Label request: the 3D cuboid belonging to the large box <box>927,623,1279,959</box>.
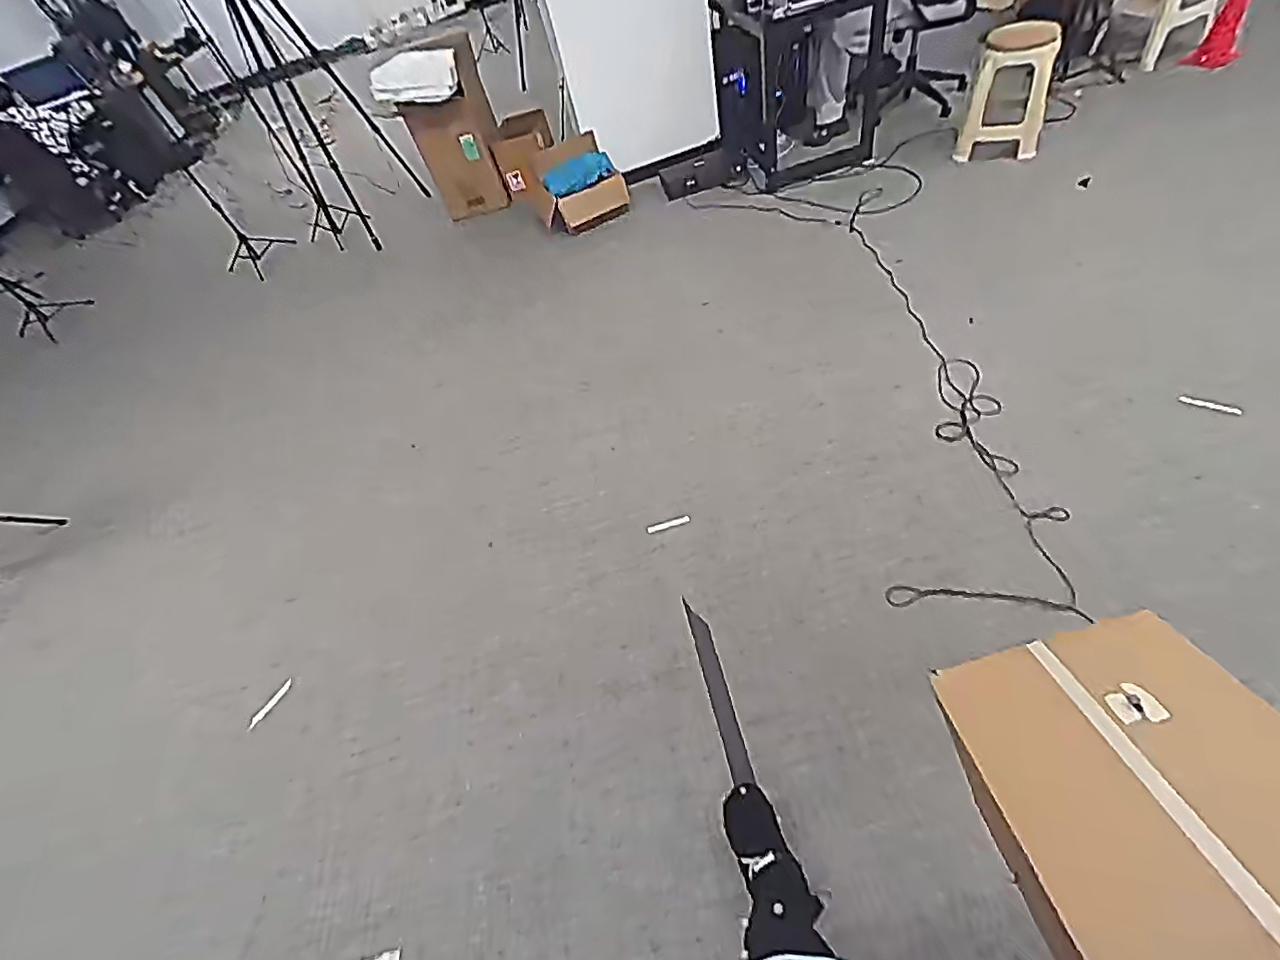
[{"bbox_3d":[0.643,0.465,0.686,0.320,0.320,0.408,-22,19,13],"label":"large box"}]
